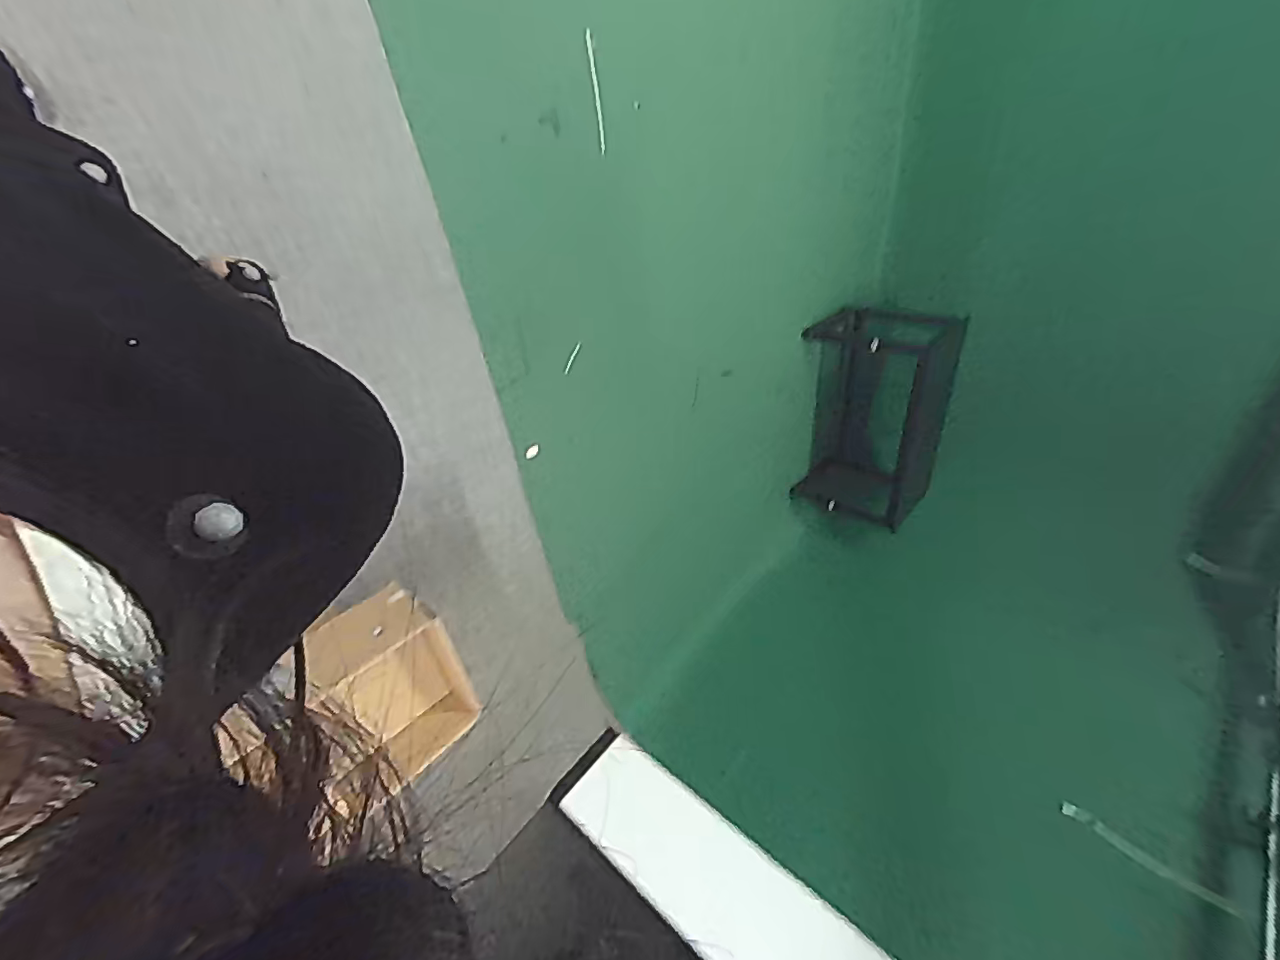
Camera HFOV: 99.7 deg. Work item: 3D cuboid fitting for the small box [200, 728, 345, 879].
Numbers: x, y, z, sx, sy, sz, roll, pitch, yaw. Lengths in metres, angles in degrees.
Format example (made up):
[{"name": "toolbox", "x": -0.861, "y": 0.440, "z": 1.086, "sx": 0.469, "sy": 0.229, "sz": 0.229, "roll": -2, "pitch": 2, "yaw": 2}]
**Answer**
[{"name": "small box", "x": -0.747, "y": 0.649, "z": 1.105, "sx": 0.168, "sy": 0.176, "sz": 0.179, "roll": -35, "pitch": 134, "yaw": -37}]
